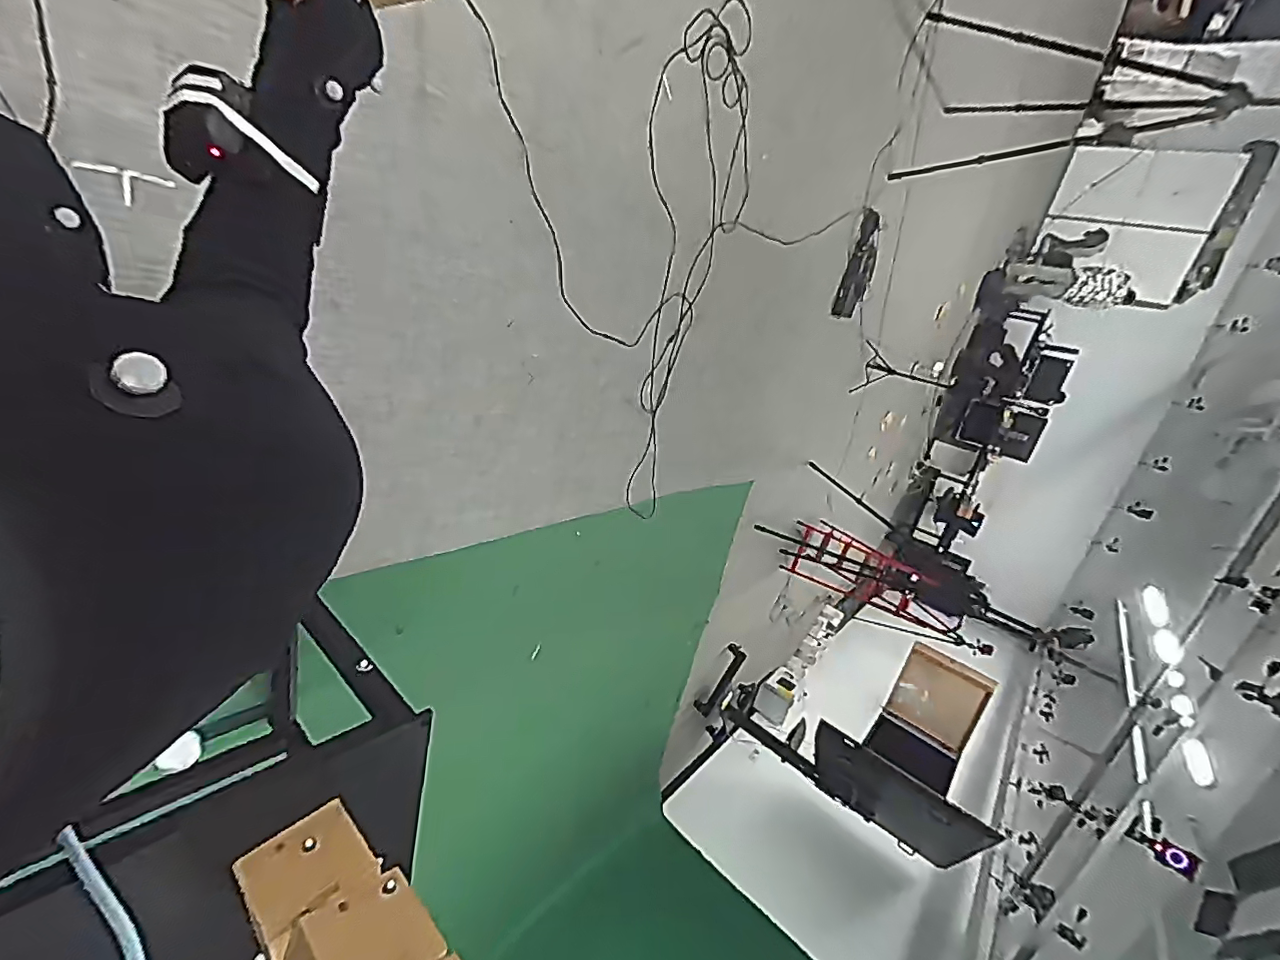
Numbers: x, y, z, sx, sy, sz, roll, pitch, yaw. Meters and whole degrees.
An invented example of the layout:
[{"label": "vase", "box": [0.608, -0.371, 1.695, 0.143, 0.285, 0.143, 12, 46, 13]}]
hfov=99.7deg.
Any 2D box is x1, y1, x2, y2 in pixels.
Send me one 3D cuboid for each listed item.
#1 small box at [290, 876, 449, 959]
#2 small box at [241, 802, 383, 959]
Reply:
[{"label": "small box", "box": [-0.440, 0.778, 0.856, 0.168, 0.176, 0.179, 9, 105, -54]}, {"label": "small box", "box": [-0.564, 0.716, 0.944, 0.168, 0.176, 0.179, -21, 127, -45]}]
